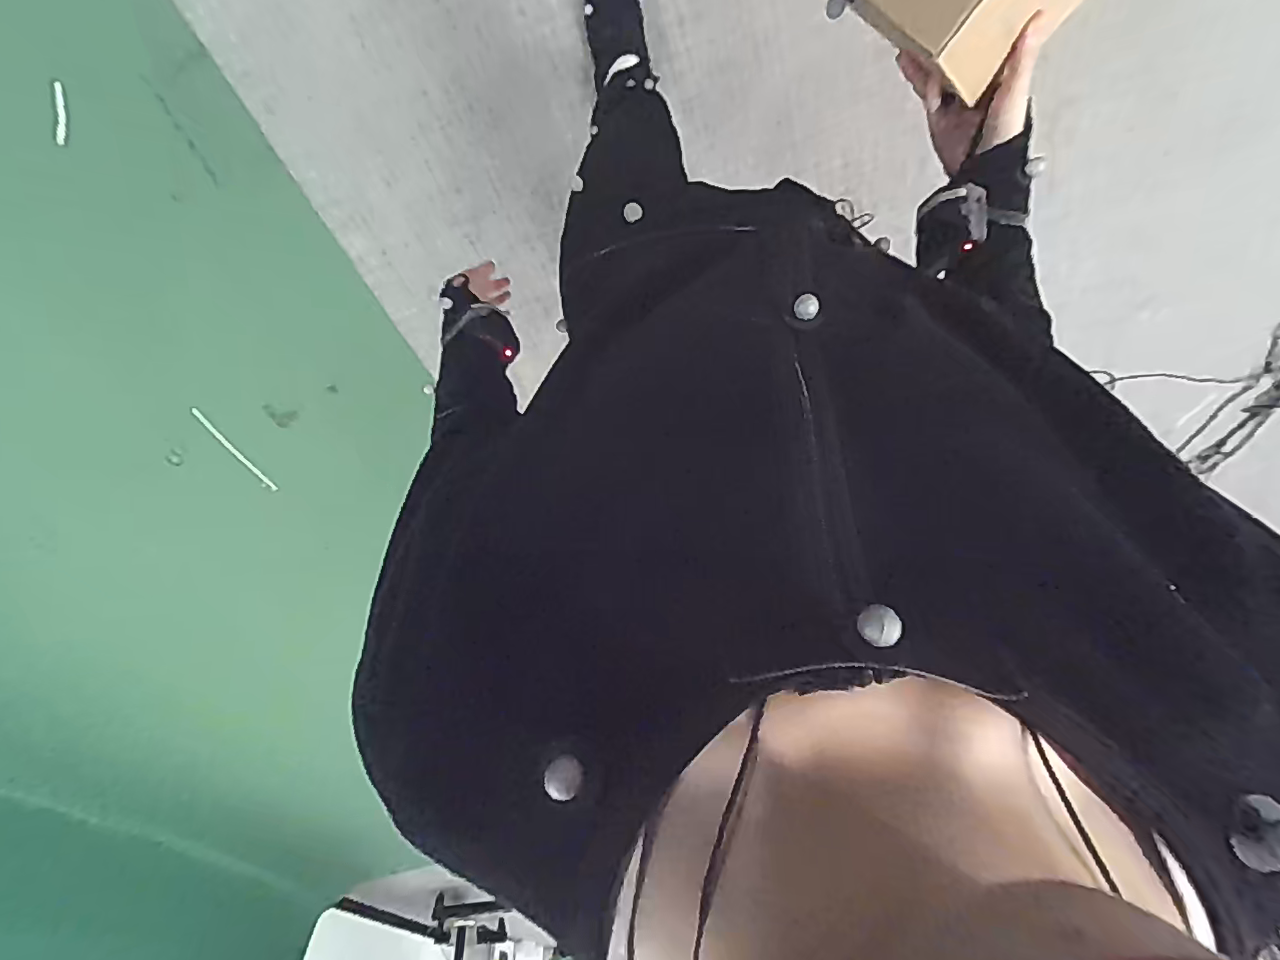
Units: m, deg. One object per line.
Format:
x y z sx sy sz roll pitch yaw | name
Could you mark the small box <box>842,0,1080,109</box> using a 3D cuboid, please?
0.247 -0.421 0.386 0.168 0.176 0.179 -22 160 -48 | small box
